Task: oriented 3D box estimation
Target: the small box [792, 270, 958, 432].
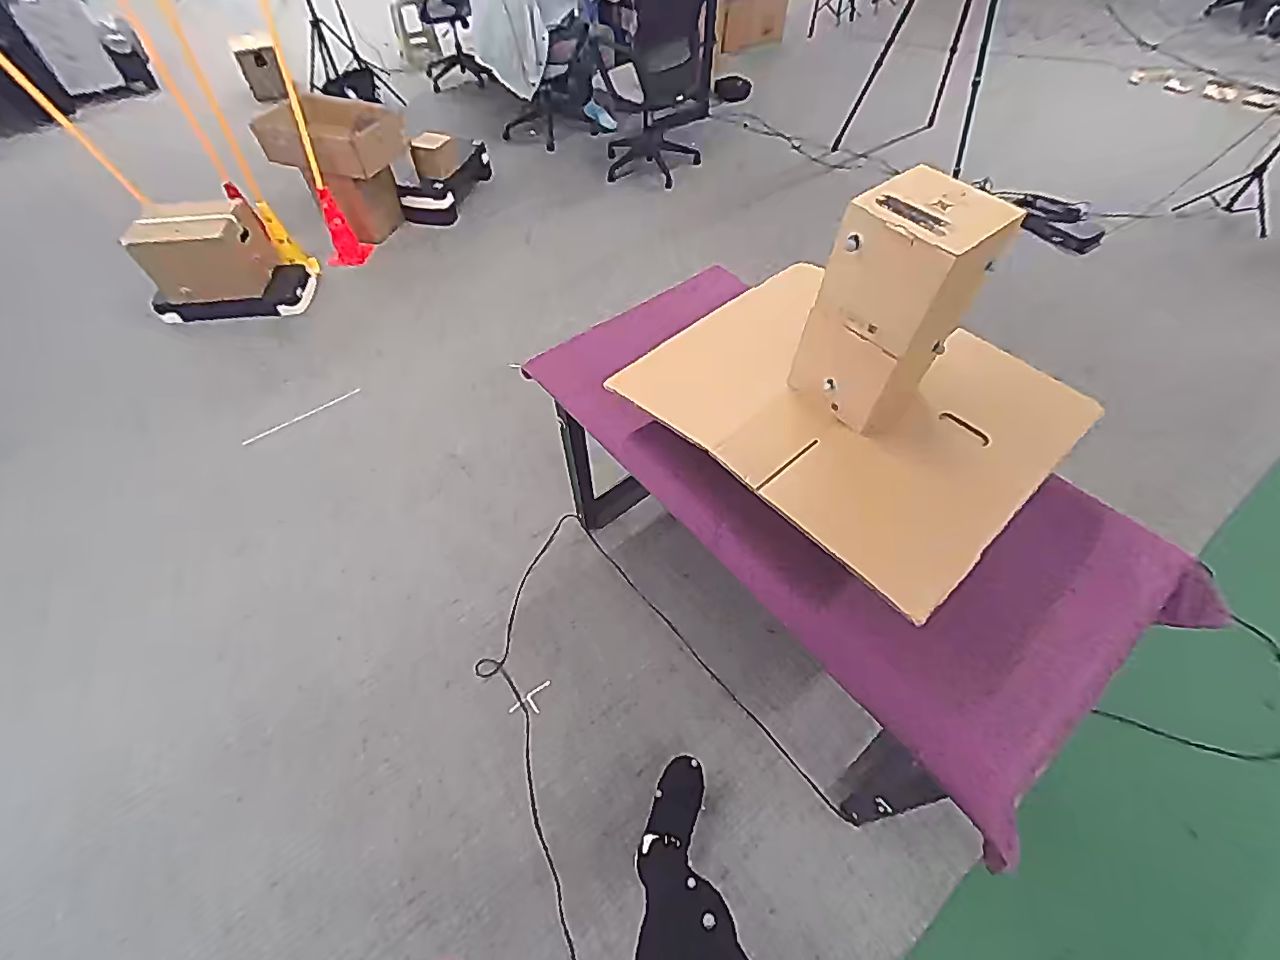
[{"bbox_3d":[0.385,-0.217,0.921,0.179,0.176,0.168,-35,62,-22],"label":"small box"}]
